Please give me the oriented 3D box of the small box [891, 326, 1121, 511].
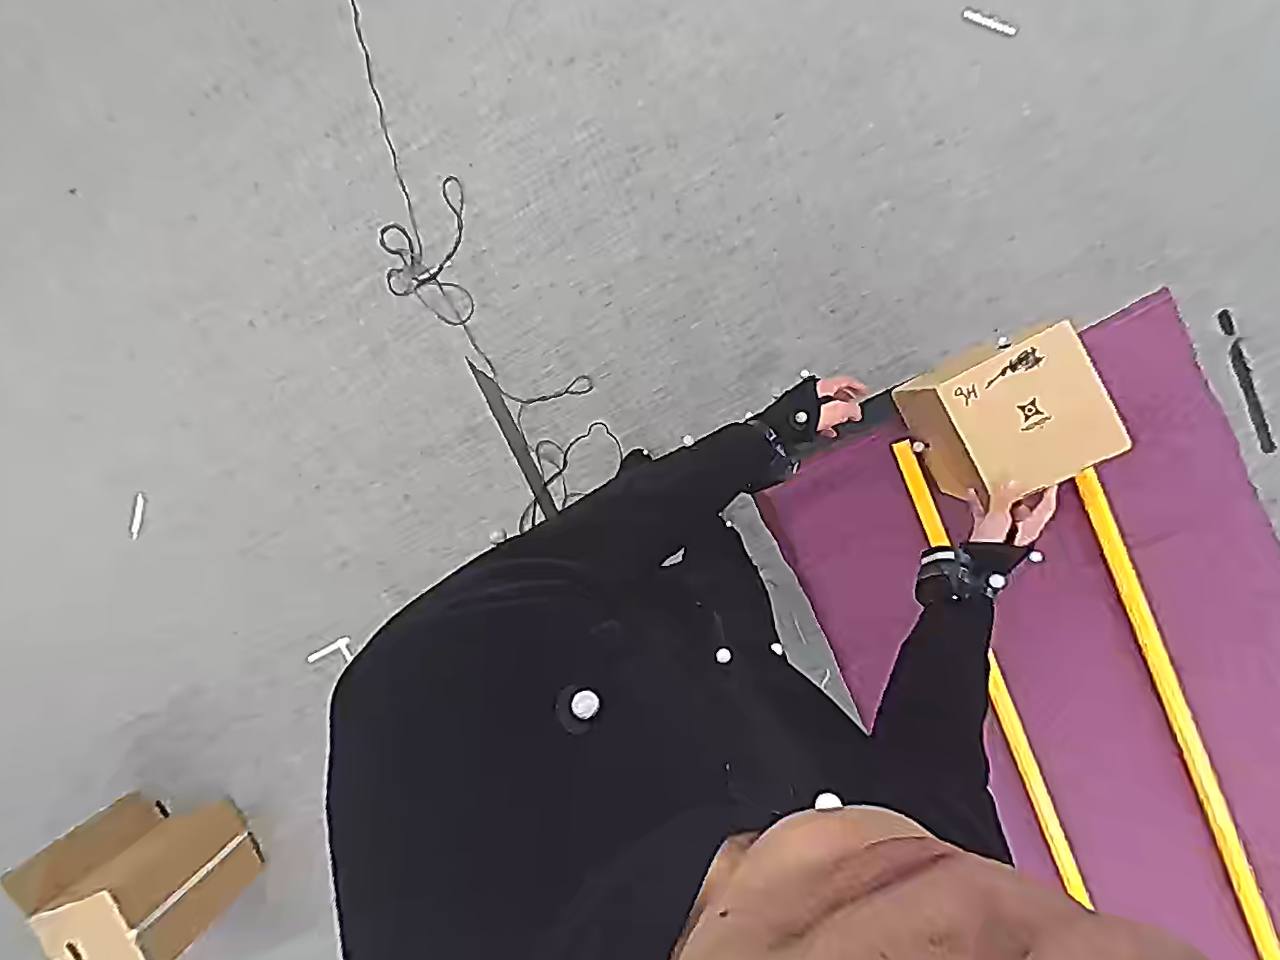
[{"bbox_3d":[0.476,-0.083,0.732,0.168,0.176,0.179,-27,94,9],"label":"small box"}]
